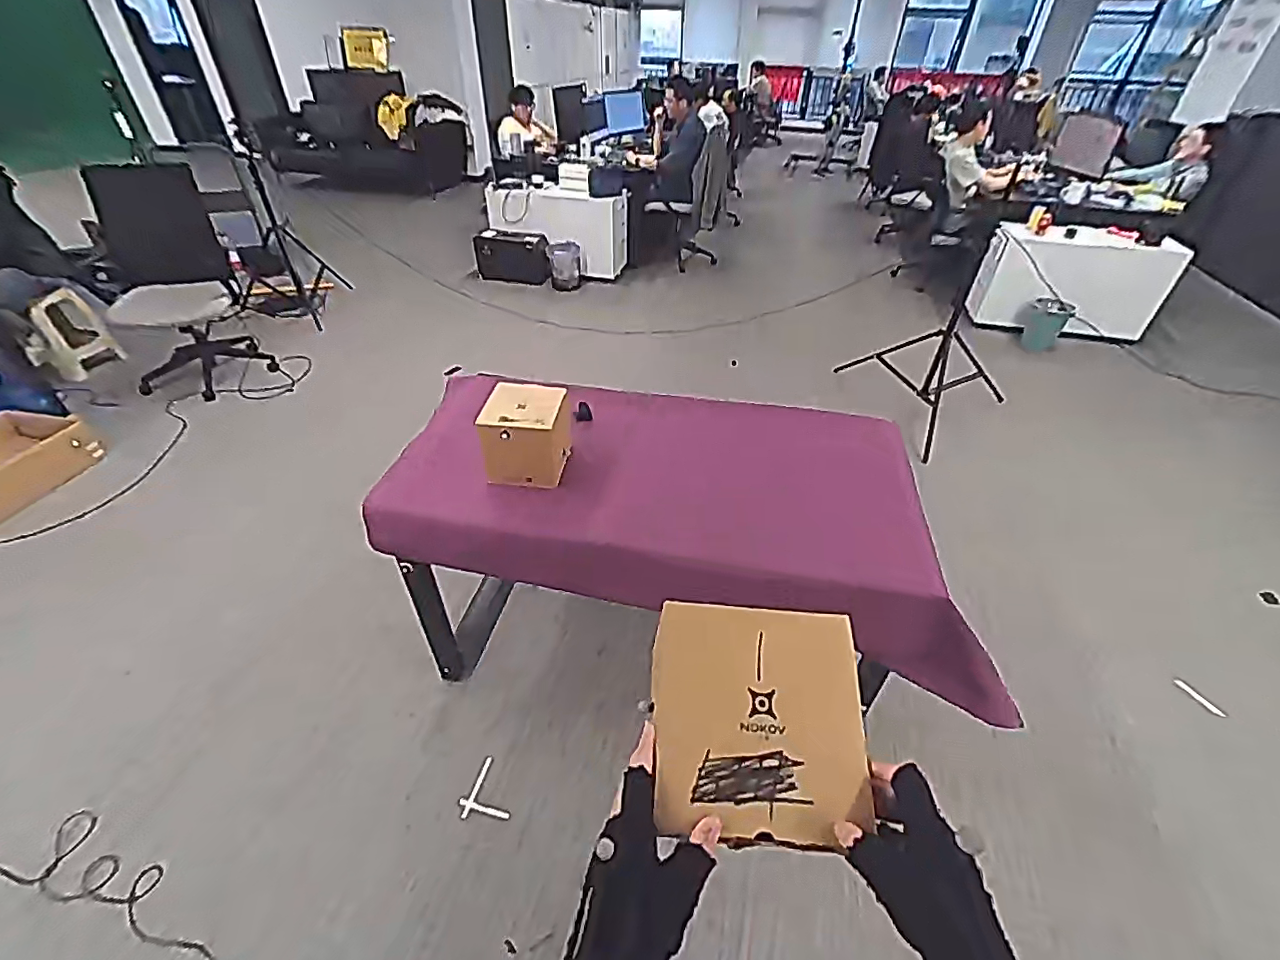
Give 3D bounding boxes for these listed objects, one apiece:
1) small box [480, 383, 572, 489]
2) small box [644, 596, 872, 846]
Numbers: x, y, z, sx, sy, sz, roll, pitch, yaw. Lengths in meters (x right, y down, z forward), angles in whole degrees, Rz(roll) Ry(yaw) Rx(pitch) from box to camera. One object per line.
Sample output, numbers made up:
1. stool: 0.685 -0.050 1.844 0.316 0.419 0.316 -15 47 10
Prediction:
1. small box: -0.254 -0.103 1.252 0.168 0.176 0.179 5 39 4
2. small box: 0.093 0.226 0.505 0.168 0.176 0.179 5 58 0
